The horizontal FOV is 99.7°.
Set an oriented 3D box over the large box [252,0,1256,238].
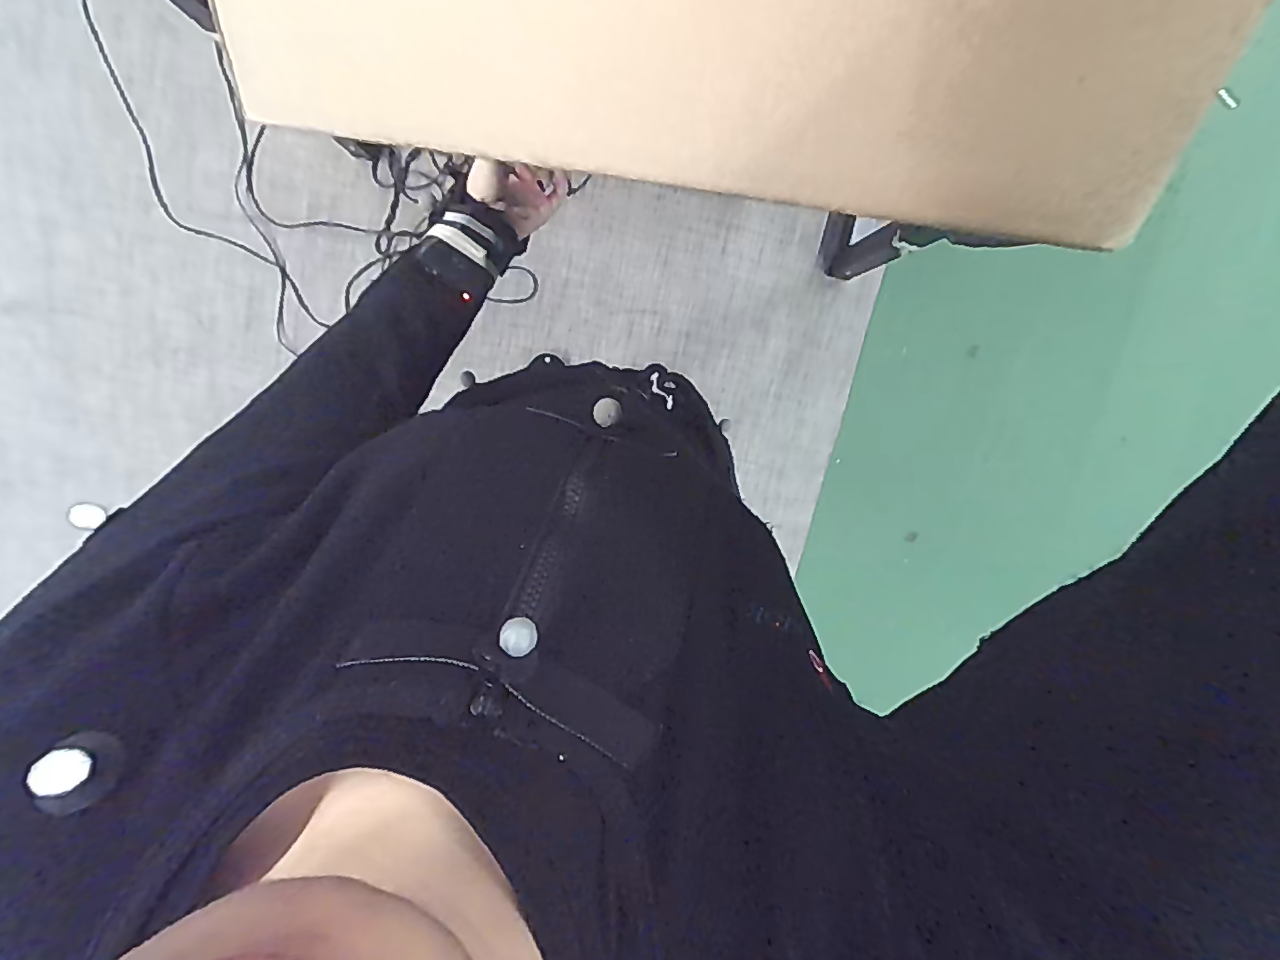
[{"bbox_3d":[0.052,-0.337,0.281,0.408,0.320,0.320,12,126,11],"label":"large box"}]
